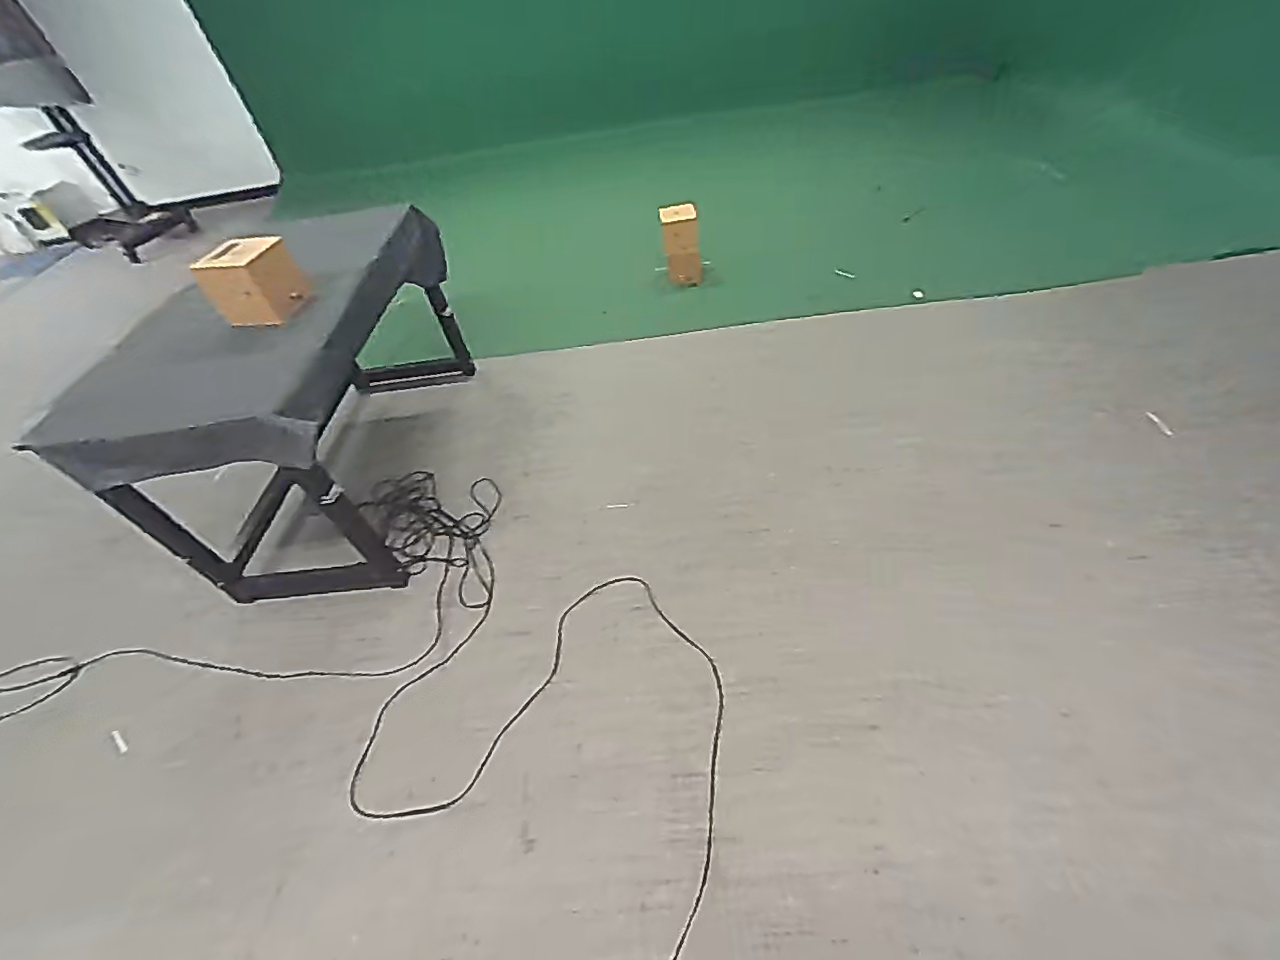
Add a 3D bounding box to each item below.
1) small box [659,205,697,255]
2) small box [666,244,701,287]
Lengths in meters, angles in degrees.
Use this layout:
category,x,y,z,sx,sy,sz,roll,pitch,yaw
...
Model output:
category,x,y,z,sx,sy,sz,roll,pitch,yaw
small box,0.188,-1.223,2.655,0.168,0.176,0.179,-8,46,4
small box,0.220,-1.117,2.776,0.168,0.176,0.179,-7,48,5
